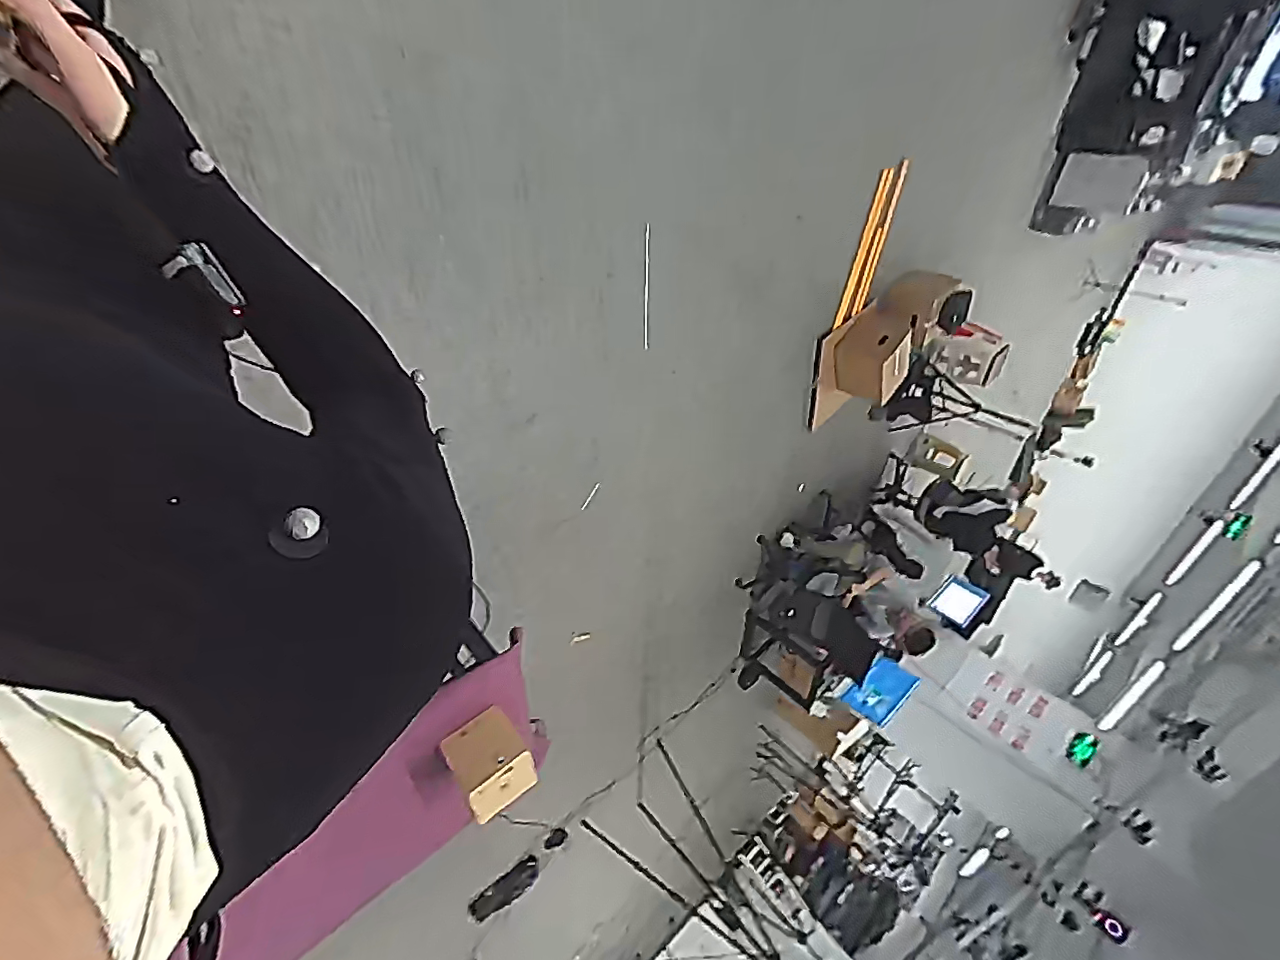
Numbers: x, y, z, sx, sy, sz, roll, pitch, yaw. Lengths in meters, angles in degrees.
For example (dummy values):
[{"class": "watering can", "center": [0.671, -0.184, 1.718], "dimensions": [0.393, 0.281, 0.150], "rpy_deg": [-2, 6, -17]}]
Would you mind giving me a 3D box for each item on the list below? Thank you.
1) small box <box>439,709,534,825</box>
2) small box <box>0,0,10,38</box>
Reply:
[{"class": "small box", "center": [-0.396, 0.736, 1.402], "dimensions": [0.168, 0.176, 0.179], "rpy_deg": [-28, 136, -32]}, {"class": "small box", "center": [-0.515, -0.412, 0.325], "dimensions": [0.168, 0.176, 0.179], "rpy_deg": [-6, 113, -47]}]
